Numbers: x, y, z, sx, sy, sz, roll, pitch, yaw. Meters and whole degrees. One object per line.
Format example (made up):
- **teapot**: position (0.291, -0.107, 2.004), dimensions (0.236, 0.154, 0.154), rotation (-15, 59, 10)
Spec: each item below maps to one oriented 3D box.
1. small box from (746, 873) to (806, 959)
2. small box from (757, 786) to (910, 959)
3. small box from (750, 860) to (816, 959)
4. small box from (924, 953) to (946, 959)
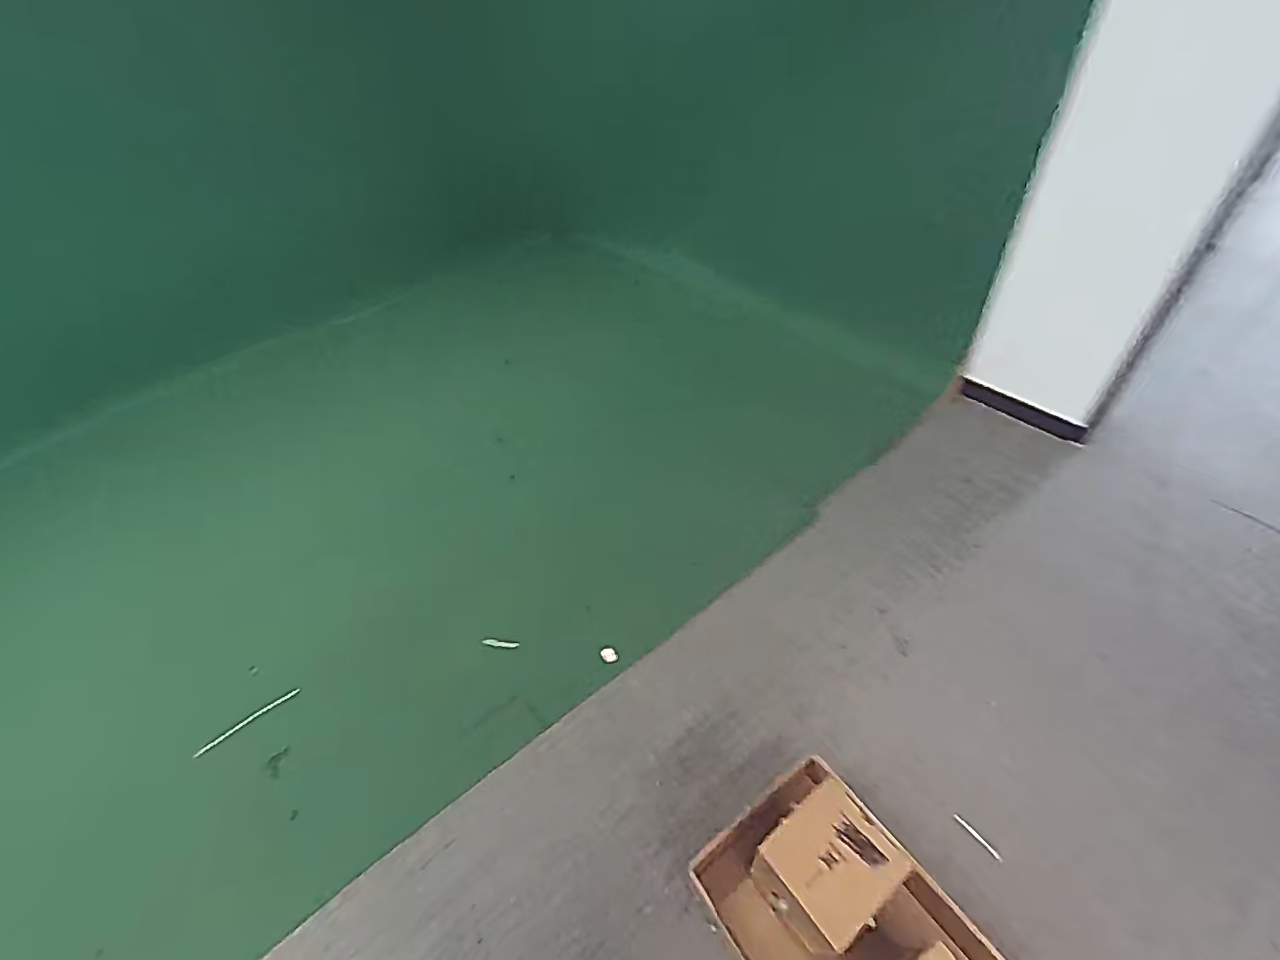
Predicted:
- **small box**: position (0.346, 0.877, 1.151), dimensions (0.179, 0.176, 0.168), rotation (-31, 51, -19)
- **small box**: position (0.311, 0.662, 0.909), dimensions (0.179, 0.176, 0.168), rotation (-32, 51, -19)
- **small box**: position (0.328, 0.771, 1.031), dimensions (0.179, 0.176, 0.168), rotation (-32, 51, -20)
- **small box**: position (0.477, 0.916, 0.868), dimensions (0.179, 0.176, 0.168), rotation (-31, 48, -19)
